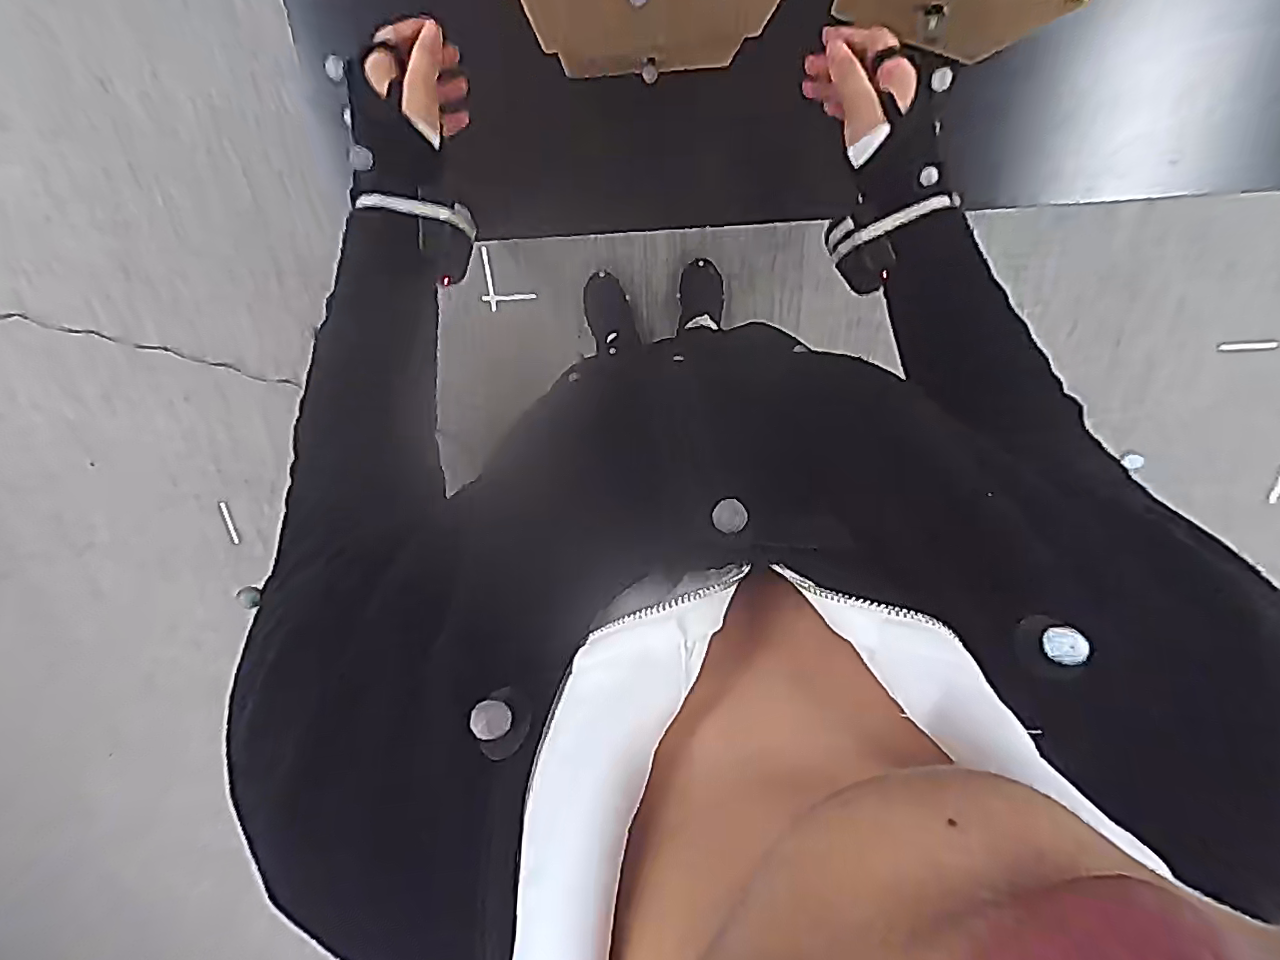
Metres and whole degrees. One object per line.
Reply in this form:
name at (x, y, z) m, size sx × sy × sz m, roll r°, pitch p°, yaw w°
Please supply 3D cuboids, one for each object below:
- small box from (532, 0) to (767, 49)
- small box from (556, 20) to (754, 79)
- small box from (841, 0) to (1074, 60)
small box at (0.005, -0.398, 0.338) m, size 0.179 × 0.176 × 0.168 m, roll -4°, pitch 114°, yaw 0°
small box at (0.004, -0.482, 0.482) m, size 0.179 × 0.176 × 0.168 m, roll -4°, pitch 113°, yaw 0°
small box at (0.298, -0.512, 0.475) m, size 0.168 × 0.176 × 0.179 m, roll 13°, pitch 112°, yaw -7°
